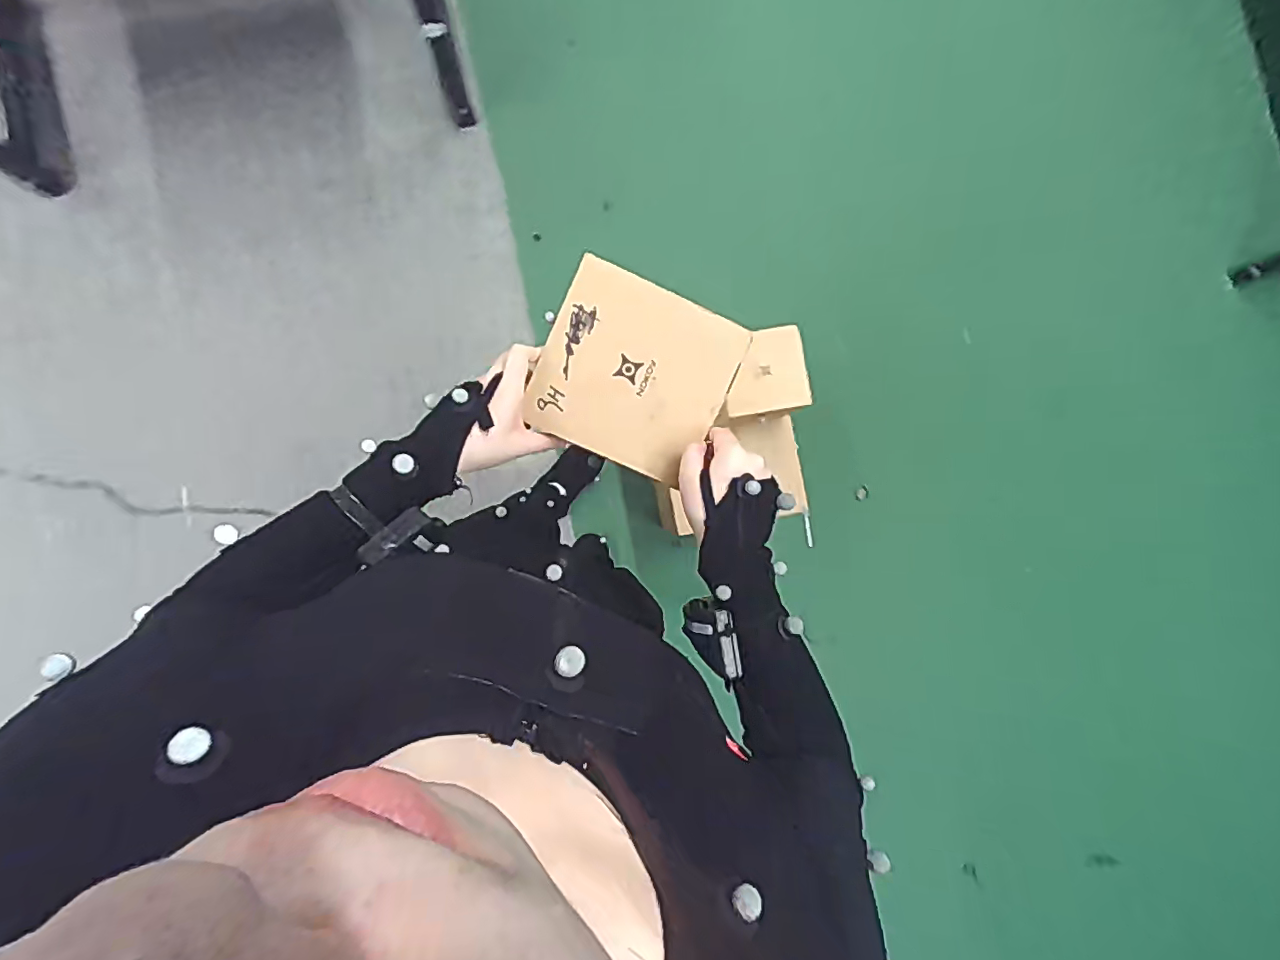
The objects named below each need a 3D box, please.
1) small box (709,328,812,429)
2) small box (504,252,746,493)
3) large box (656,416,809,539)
[{"bbox_3d":[0.238,-0.208,1.146,0.179,0.176,0.168,-10,88,-5],"label":"small box"},{"bbox_3d":[-0.021,-0.100,0.568,0.179,0.176,0.168,24,90,-8],"label":"small box"},{"bbox_3d":[0.191,-0.083,1.381,0.320,0.320,0.408,-10,89,-4],"label":"large box"}]
